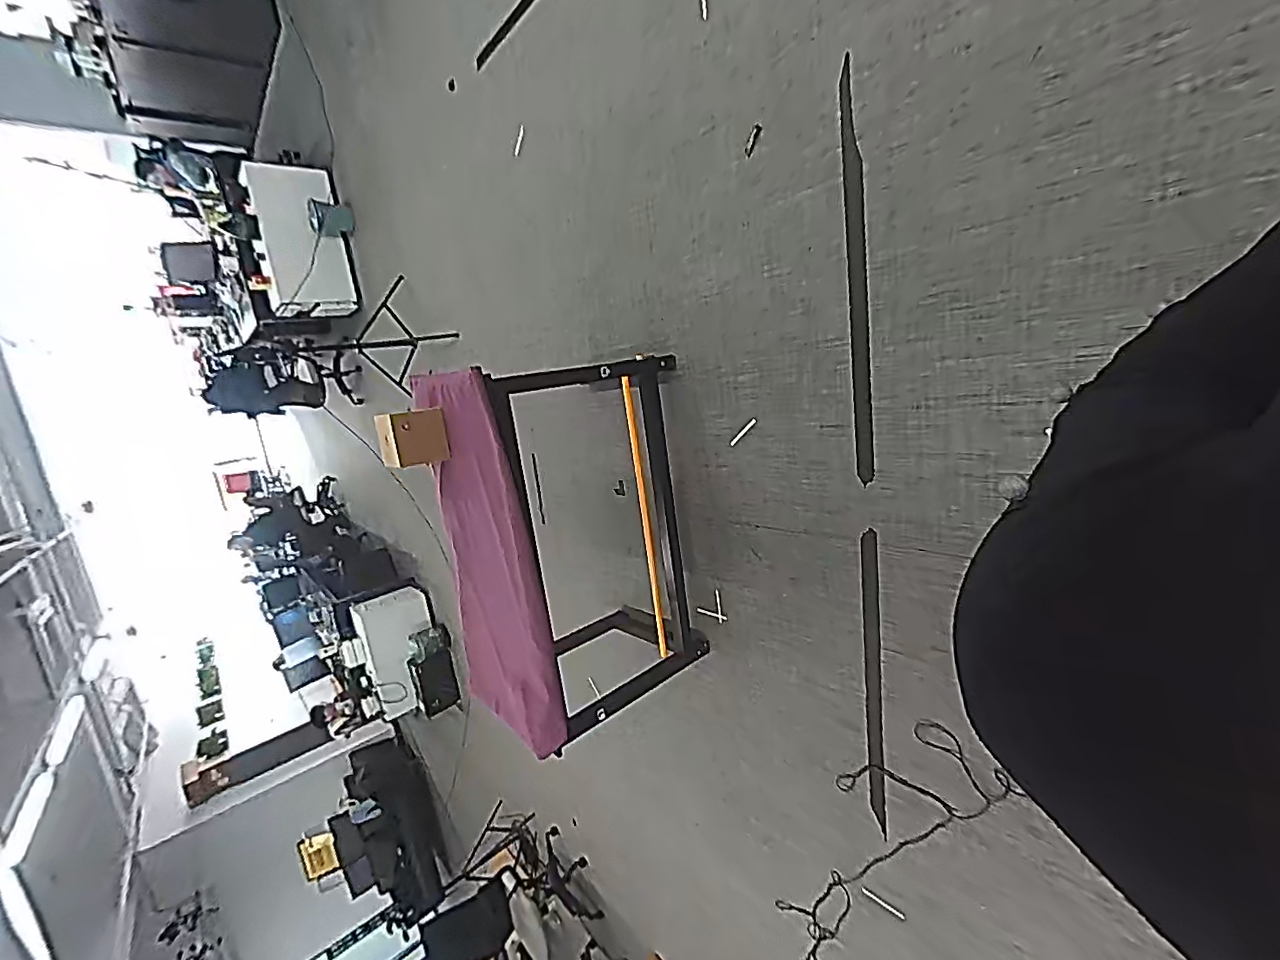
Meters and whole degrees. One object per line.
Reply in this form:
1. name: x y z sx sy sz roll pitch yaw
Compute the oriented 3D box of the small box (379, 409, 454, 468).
1. small box: -0.742 -0.143 1.799 0.168 0.176 0.179 5 107 49
